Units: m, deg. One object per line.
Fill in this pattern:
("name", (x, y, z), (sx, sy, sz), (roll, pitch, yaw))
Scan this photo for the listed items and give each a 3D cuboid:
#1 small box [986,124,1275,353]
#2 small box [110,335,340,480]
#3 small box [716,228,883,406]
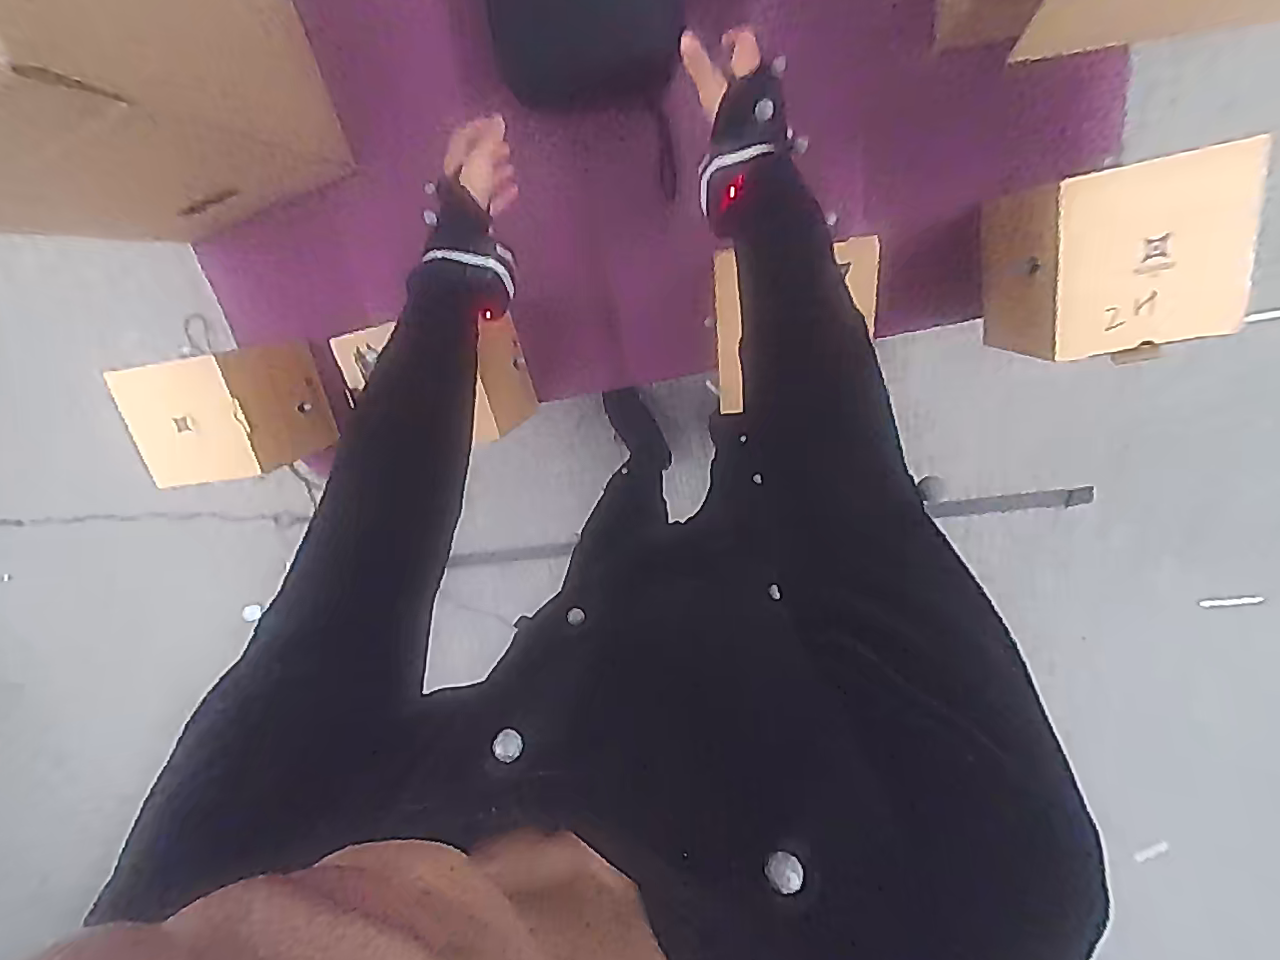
("small box", (0.500, -0.248, 0.585), (0.168, 0.176, 0.179), (-8, 110, 12))
("small box", (-0.589, -0.112, 0.794), (0.179, 0.176, 0.168), (-7, 110, 9))
("small box", (0.178, -0.197, 0.653), (0.168, 0.176, 0.179), (-2, 112, 9))
